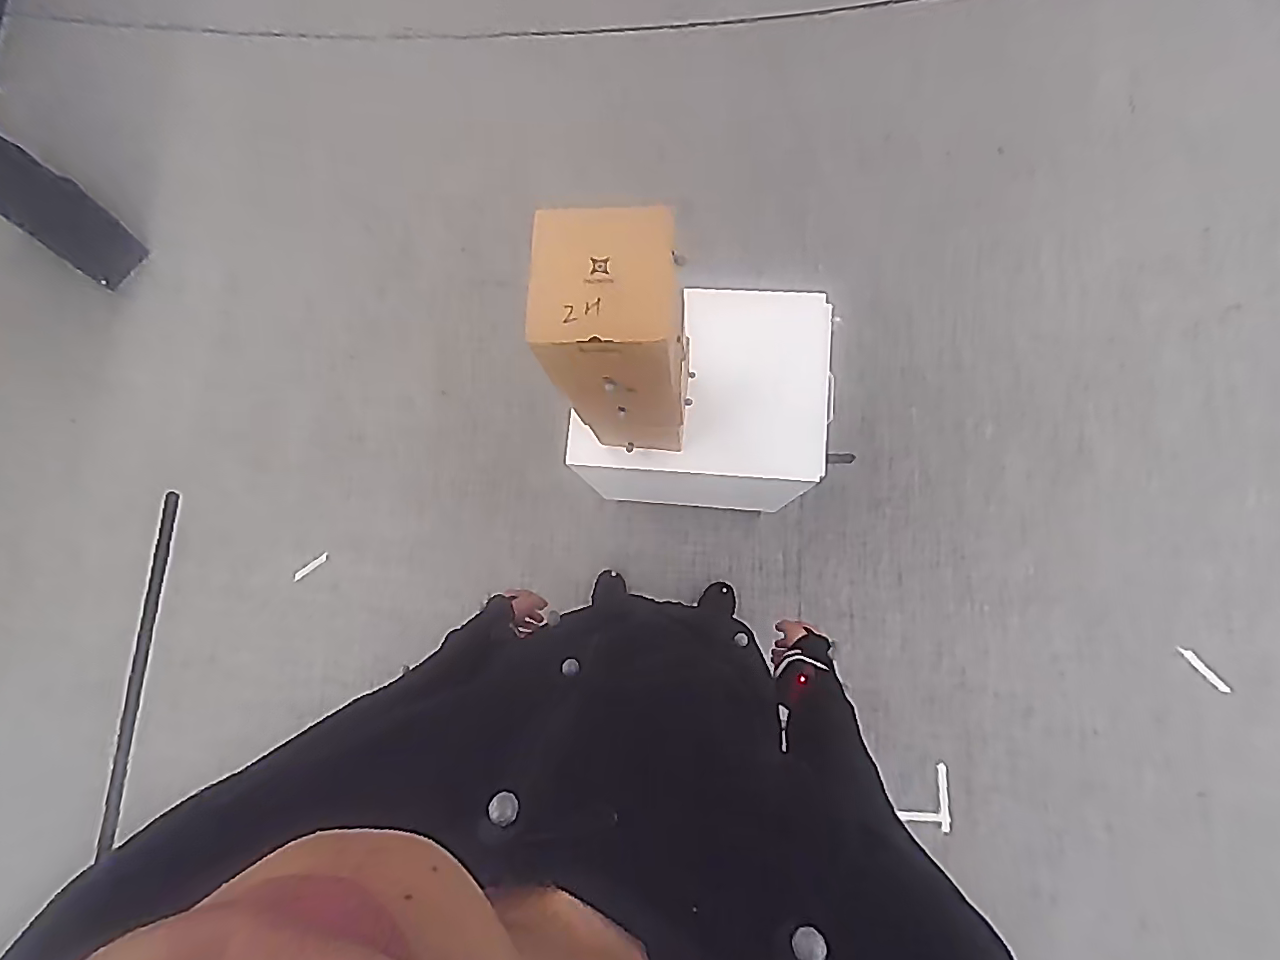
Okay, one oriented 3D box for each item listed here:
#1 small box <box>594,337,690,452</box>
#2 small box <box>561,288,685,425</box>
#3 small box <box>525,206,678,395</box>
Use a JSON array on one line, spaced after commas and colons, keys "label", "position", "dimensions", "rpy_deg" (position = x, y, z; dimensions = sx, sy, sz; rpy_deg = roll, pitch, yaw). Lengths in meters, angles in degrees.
[{"label": "small box", "position": [0.003, -0.161, 1.022], "dimensions": [0.168, 0.176, 0.179], "rpy_deg": [5, 81, 6]}, {"label": "small box", "position": [-0.017, -0.189, 0.861], "dimensions": [0.179, 0.176, 0.168], "rpy_deg": [1, 79, 6]}, {"label": "small box", "position": [-0.038, -0.223, 0.701], "dimensions": [0.168, 0.176, 0.179], "rpy_deg": [1, 80, 7]}]
